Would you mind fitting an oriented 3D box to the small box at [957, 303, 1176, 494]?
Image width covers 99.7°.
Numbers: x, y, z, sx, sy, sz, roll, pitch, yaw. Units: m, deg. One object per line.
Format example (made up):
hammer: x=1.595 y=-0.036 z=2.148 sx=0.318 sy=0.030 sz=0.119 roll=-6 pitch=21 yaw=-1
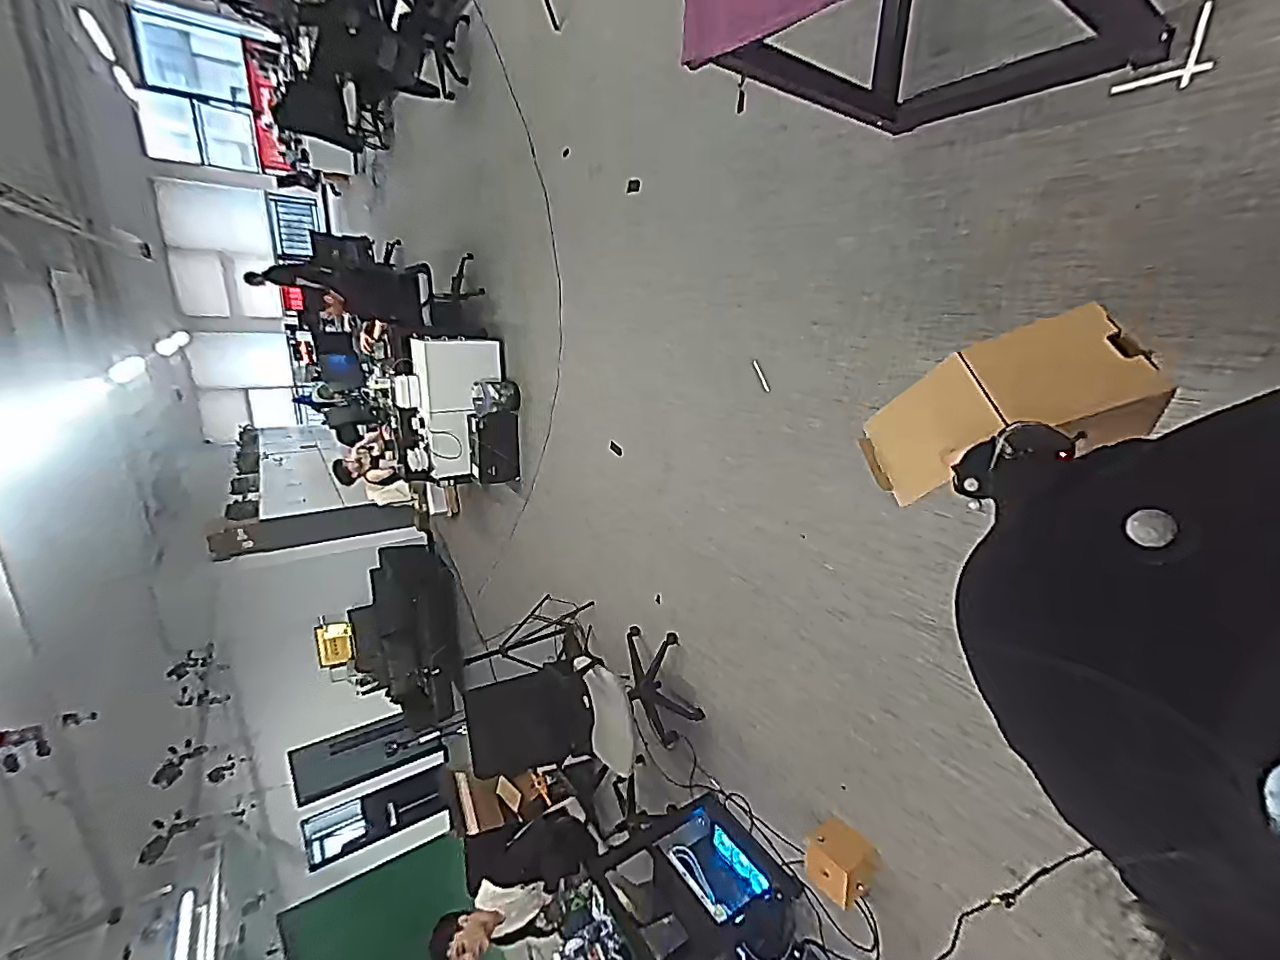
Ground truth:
small box: x=0.565 y=-0.102 z=0.751 sx=0.179 sy=0.176 sz=0.168 roll=-19 pitch=55 yaw=16
